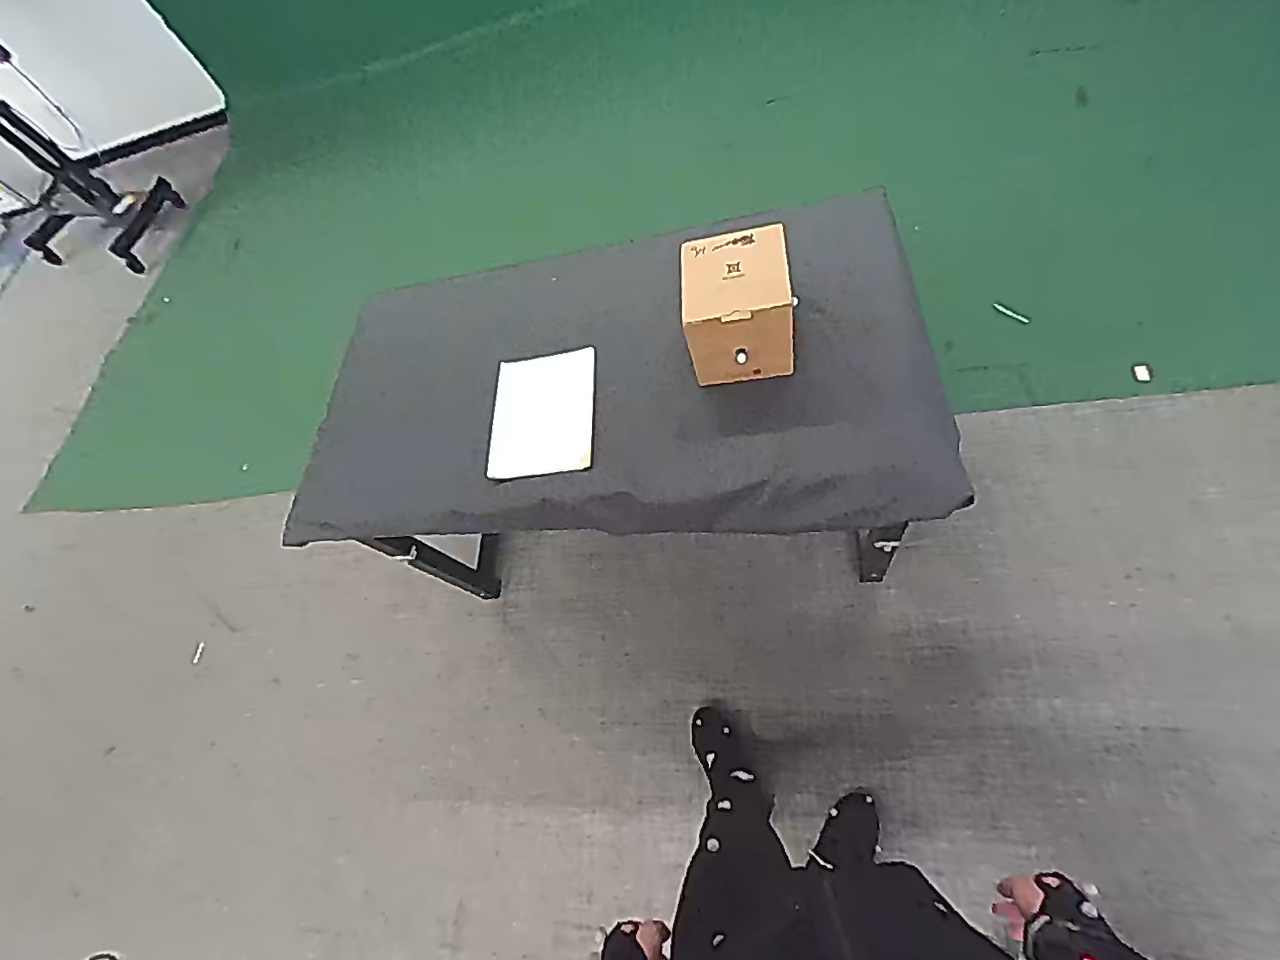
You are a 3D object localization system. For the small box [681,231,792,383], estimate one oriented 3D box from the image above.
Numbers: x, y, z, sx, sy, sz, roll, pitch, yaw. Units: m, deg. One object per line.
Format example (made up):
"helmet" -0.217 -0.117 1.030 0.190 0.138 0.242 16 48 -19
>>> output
"small box" 0.166 -0.278 0.914 0.168 0.176 0.179 -5 64 14
